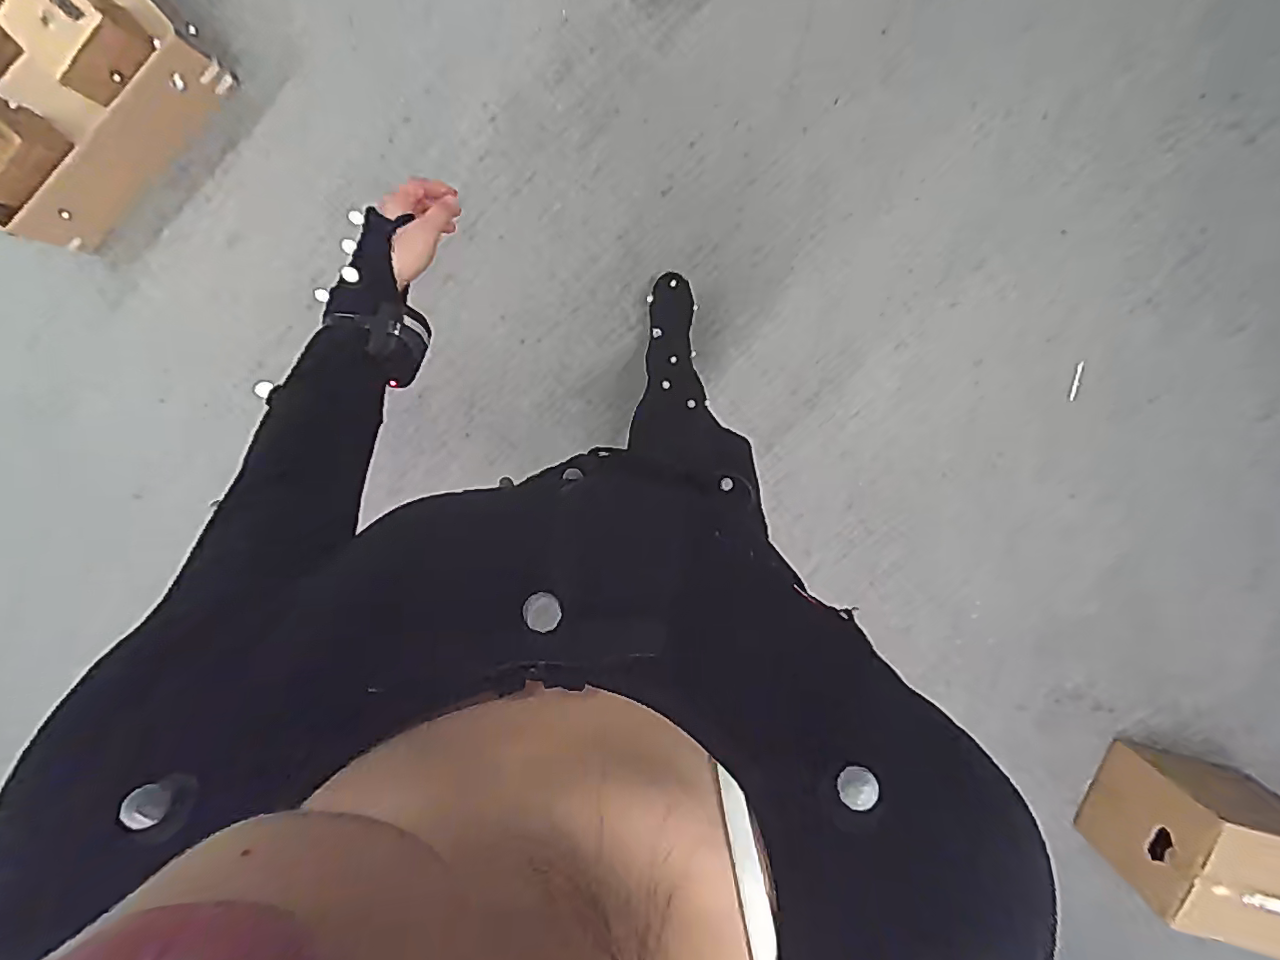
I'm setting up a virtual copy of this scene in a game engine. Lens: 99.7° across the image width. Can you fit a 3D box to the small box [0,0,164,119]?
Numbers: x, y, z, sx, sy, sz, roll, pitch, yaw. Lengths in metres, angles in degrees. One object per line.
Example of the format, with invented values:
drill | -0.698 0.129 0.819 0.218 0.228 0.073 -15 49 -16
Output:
small box | -1.201 -0.943 1.174 0.179 0.176 0.168 -41 98 9
